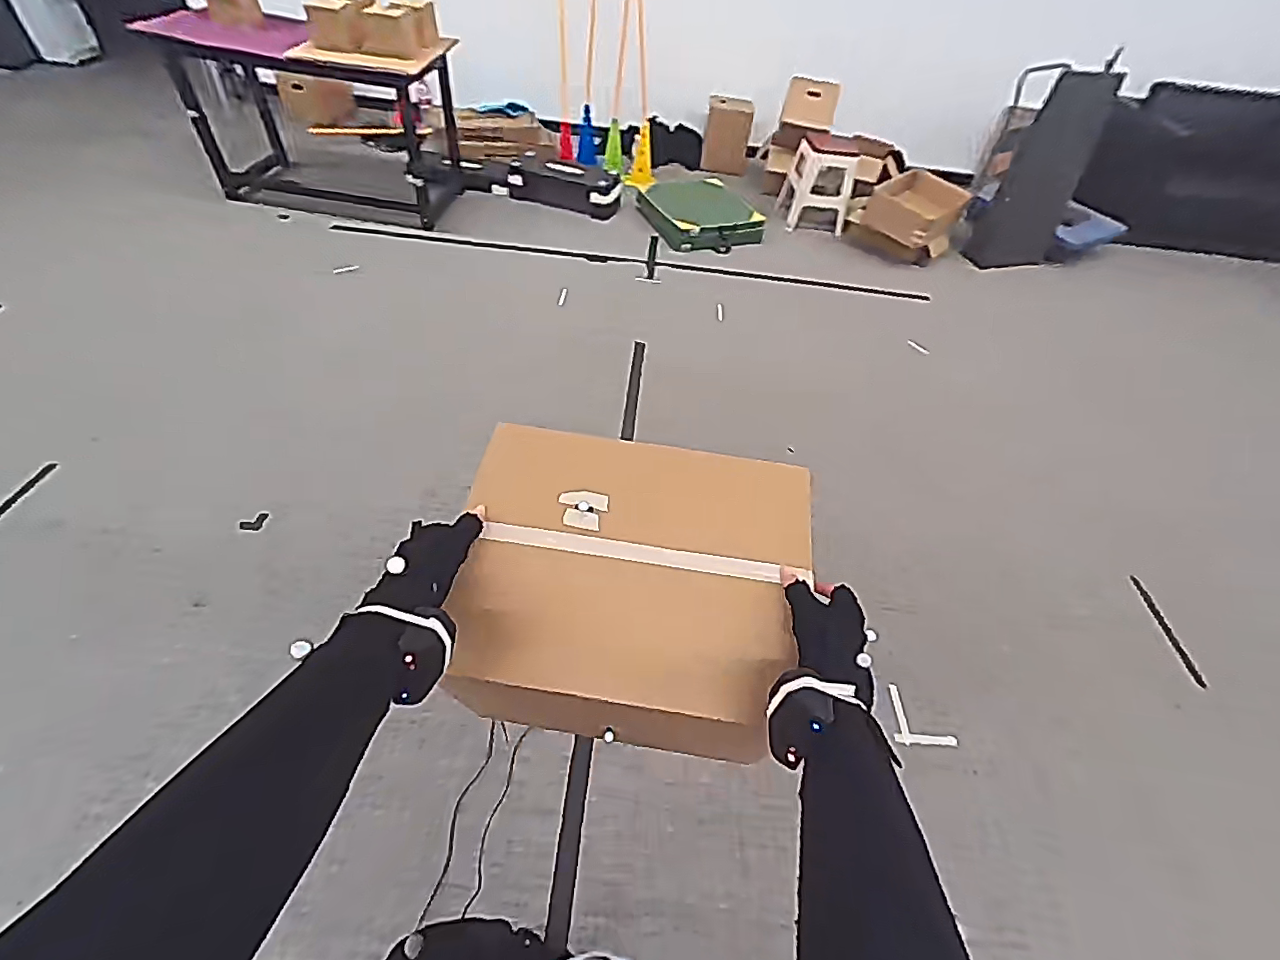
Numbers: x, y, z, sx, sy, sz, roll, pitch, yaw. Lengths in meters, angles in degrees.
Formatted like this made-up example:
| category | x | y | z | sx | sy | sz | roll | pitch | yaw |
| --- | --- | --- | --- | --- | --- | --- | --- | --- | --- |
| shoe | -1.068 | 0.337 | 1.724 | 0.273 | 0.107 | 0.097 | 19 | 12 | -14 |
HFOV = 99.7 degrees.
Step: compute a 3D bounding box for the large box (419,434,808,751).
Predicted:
| category | x | y | z | sx | sy | sz | roll | pitch | yaw |
| --- | --- | --- | --- | --- | --- | --- | --- | --- | --- |
| large box | -0.014 | 0.169 | 0.746 | 0.408 | 0.320 | 0.320 | 8 | 57 | 3 |
